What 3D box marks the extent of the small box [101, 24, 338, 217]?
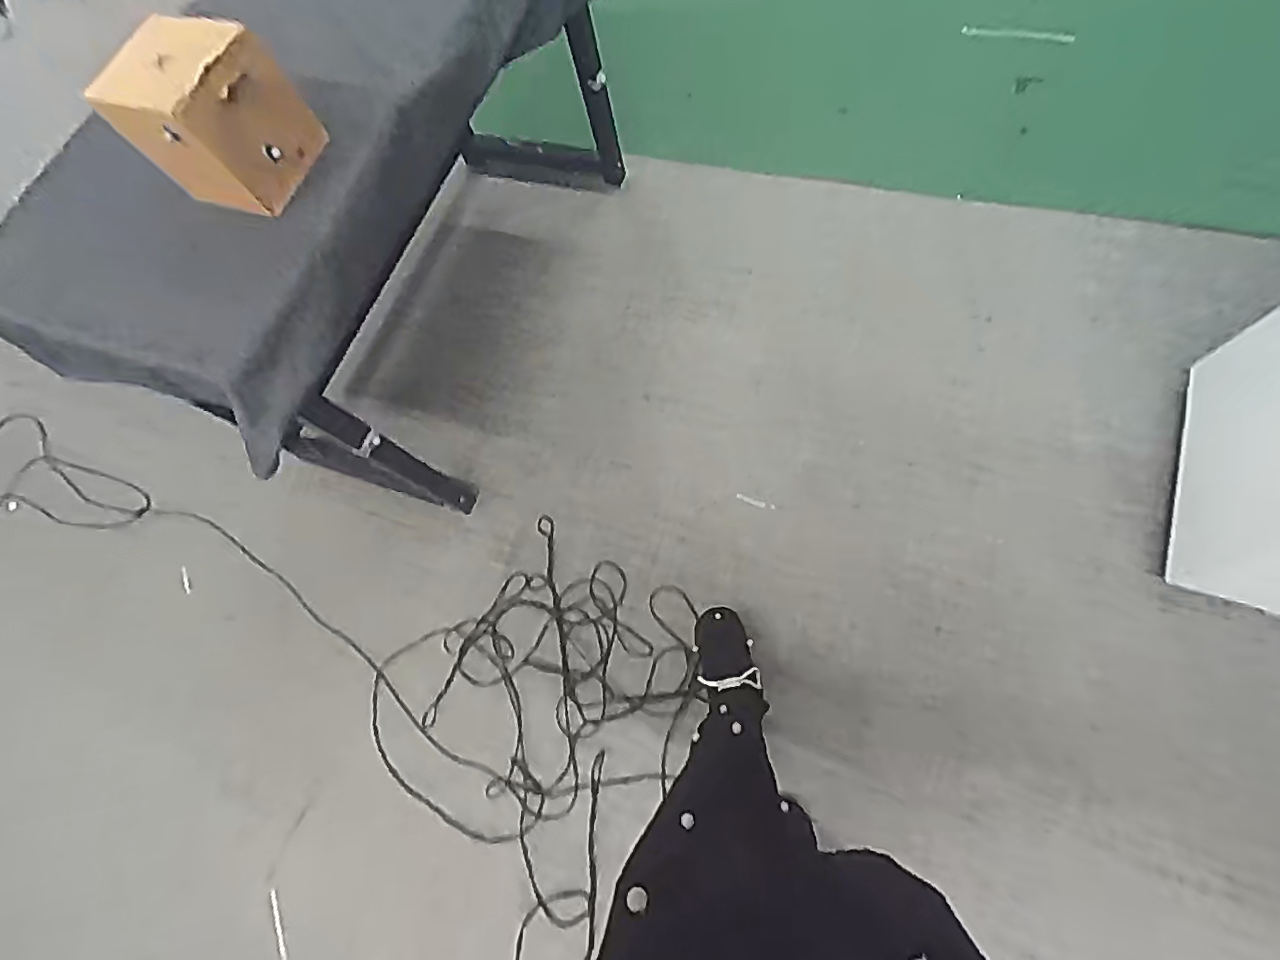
[{"bbox_3d":[-0.597,-0.517,0.791,0.179,0.176,0.168,17,74,15],"label":"small box"}]
